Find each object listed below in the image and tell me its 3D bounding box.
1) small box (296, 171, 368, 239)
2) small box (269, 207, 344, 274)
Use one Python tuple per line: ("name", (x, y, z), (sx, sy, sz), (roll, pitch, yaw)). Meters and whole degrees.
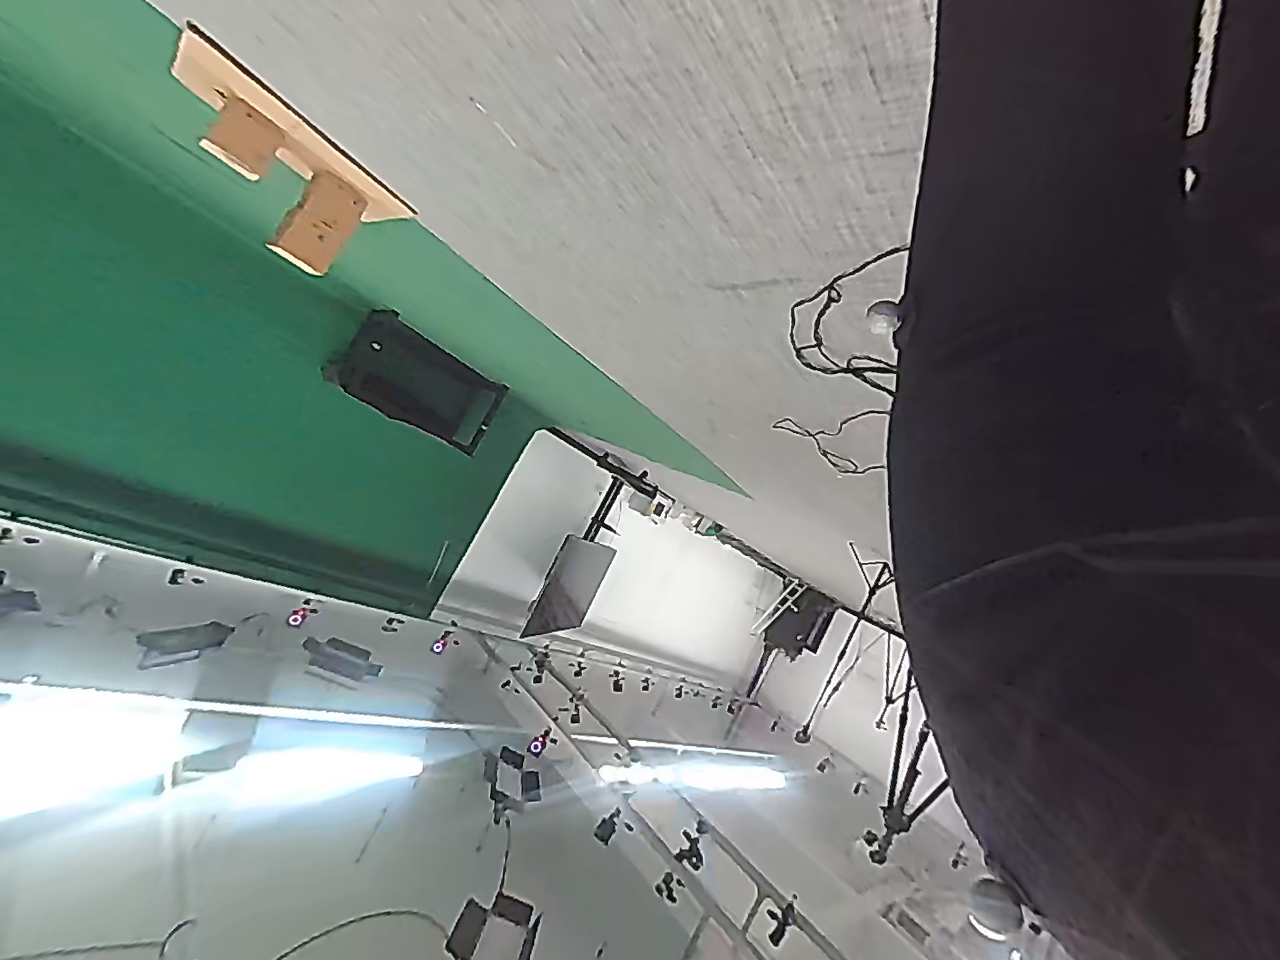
("small box", (-1.165, -1.042, 2.046), (0.179, 0.176, 0.168), (25, 175, 43))
("small box", (-1.254, -0.906, 2.038), (0.179, 0.176, 0.168), (24, 173, 41))
